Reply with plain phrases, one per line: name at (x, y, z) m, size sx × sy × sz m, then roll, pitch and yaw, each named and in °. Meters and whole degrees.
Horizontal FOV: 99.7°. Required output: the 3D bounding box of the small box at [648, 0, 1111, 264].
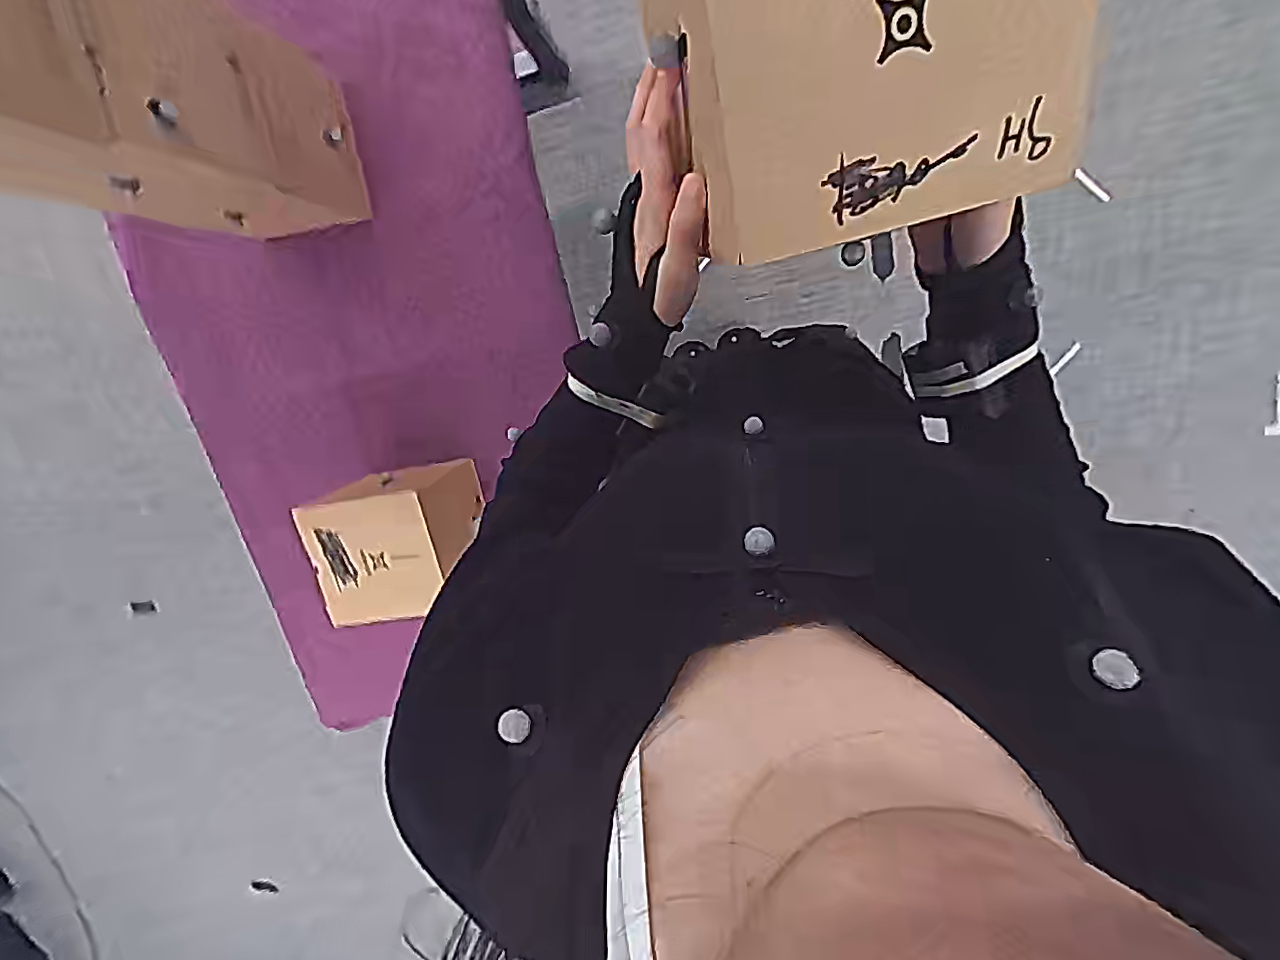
small box at (0.103, -0.228, 0.290) m, size 0.168 × 0.176 × 0.179 m, roll -13°, pitch 116°, yaw 2°

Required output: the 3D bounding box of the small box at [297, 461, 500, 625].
small box at (-0.322, 0.081, 0.756) m, size 0.179 × 0.176 × 0.168 m, roll -9°, pitch 105°, yaw 9°

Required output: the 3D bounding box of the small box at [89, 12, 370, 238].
small box at (-0.460, -0.393, 0.635) m, size 0.179 × 0.176 × 0.168 m, roll -5°, pitch 106°, yaw 9°
